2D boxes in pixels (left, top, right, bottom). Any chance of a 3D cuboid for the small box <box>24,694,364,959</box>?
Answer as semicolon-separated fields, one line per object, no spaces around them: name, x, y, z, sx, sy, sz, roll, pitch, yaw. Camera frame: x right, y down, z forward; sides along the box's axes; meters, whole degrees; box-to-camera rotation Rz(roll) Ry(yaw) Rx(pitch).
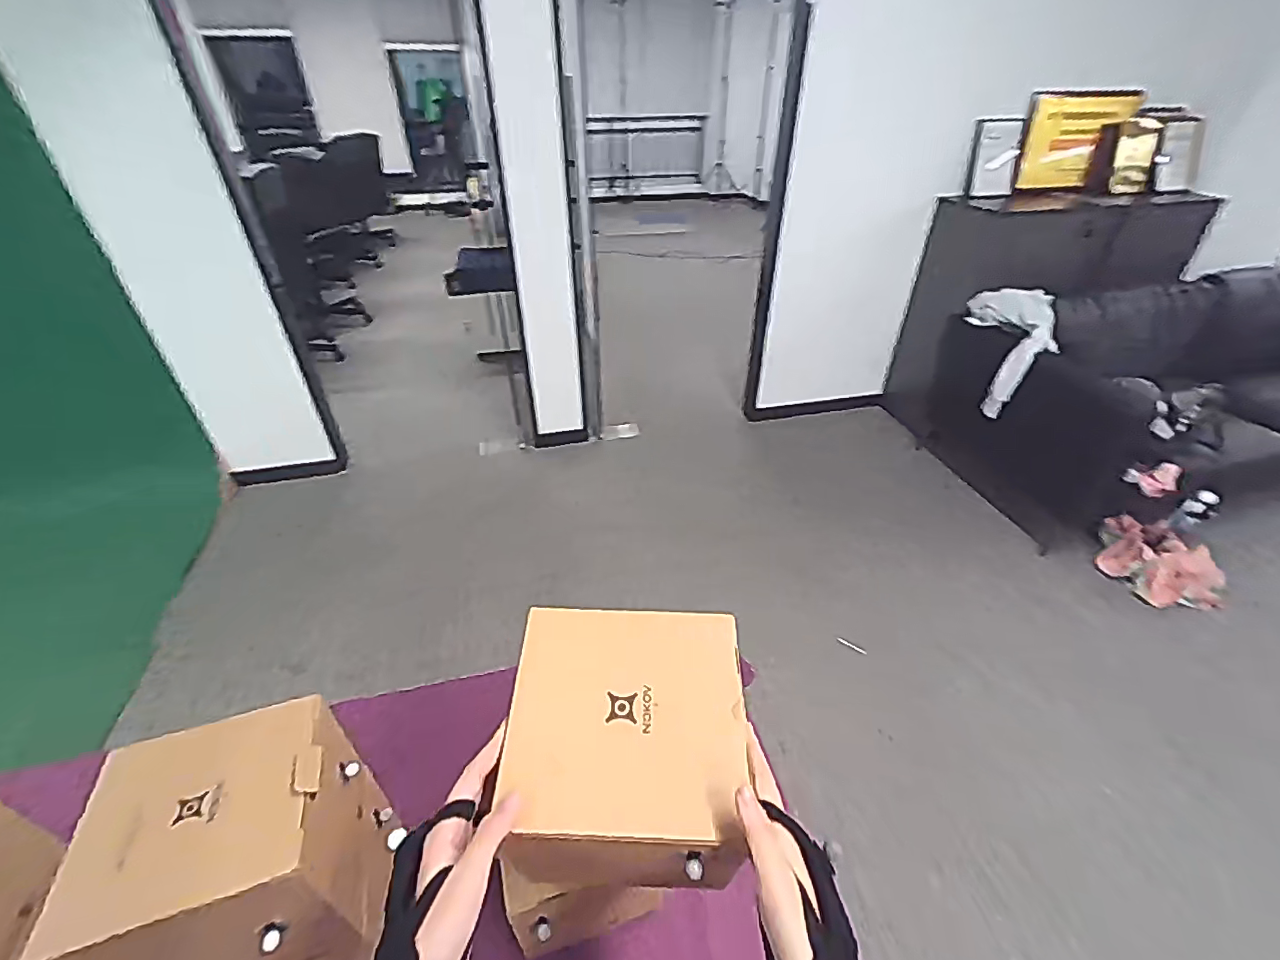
small box;-0.377;0.341;0.509;0.179;0.176;0.168;-13;38;-15

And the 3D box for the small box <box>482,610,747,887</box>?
small box;-0.014;0.229;0.460;0.179;0.176;0.168;2;45;1

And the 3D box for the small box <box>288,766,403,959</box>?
small box;-0.376;0.470;0.610;0.168;0.176;0.179;-14;40;-17
